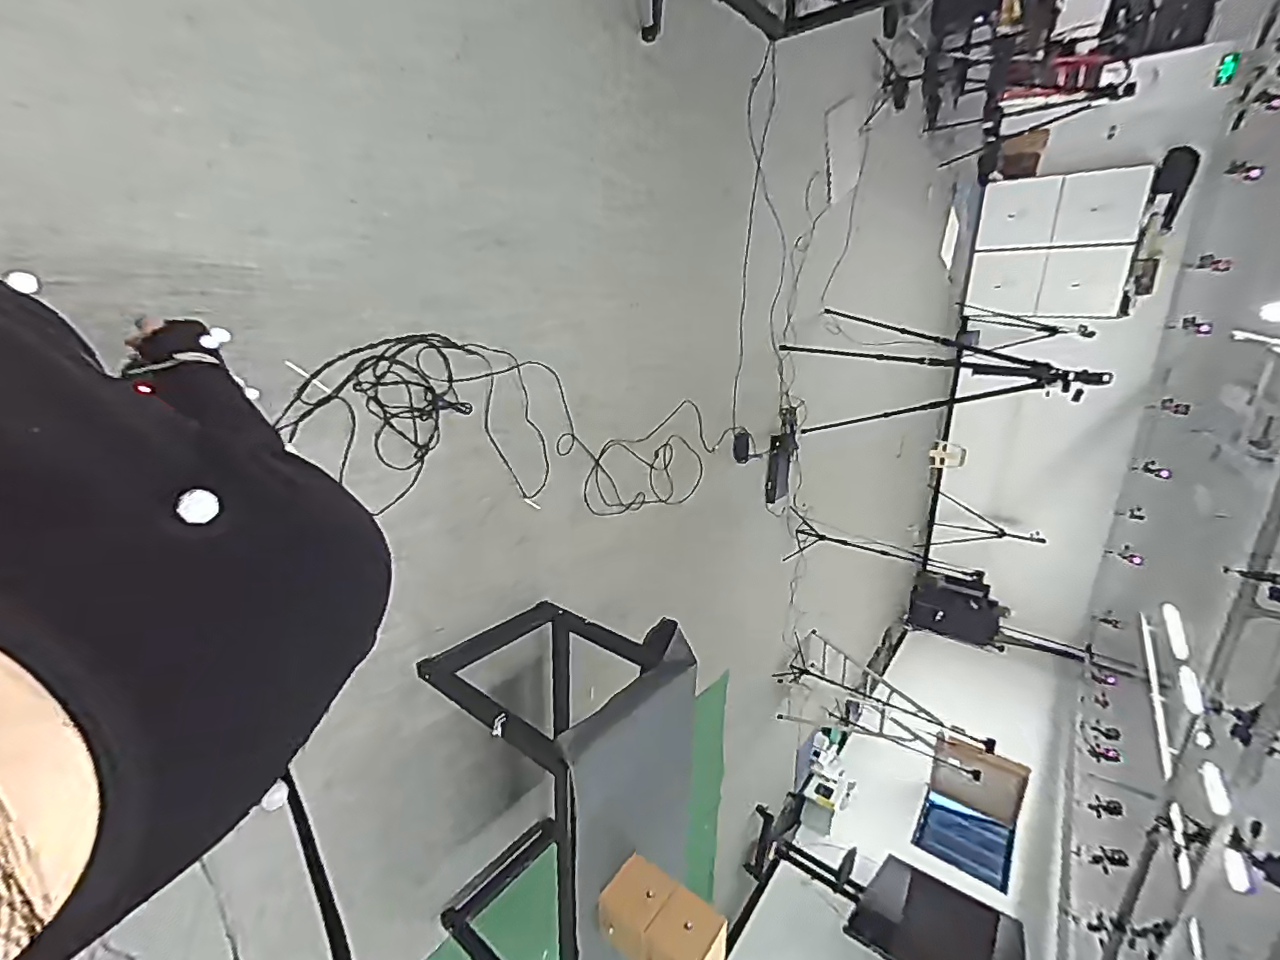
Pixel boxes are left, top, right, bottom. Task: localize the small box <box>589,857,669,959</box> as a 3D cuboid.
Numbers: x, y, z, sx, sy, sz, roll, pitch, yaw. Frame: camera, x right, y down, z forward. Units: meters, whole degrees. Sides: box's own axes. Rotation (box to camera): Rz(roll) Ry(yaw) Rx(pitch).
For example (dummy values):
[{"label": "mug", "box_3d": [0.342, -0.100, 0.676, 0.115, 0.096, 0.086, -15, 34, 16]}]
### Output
[{"label": "small box", "box_3d": [-0.032, 1.281, 1.604, 0.179, 0.176, 0.168, -24, 119, -49]}]
